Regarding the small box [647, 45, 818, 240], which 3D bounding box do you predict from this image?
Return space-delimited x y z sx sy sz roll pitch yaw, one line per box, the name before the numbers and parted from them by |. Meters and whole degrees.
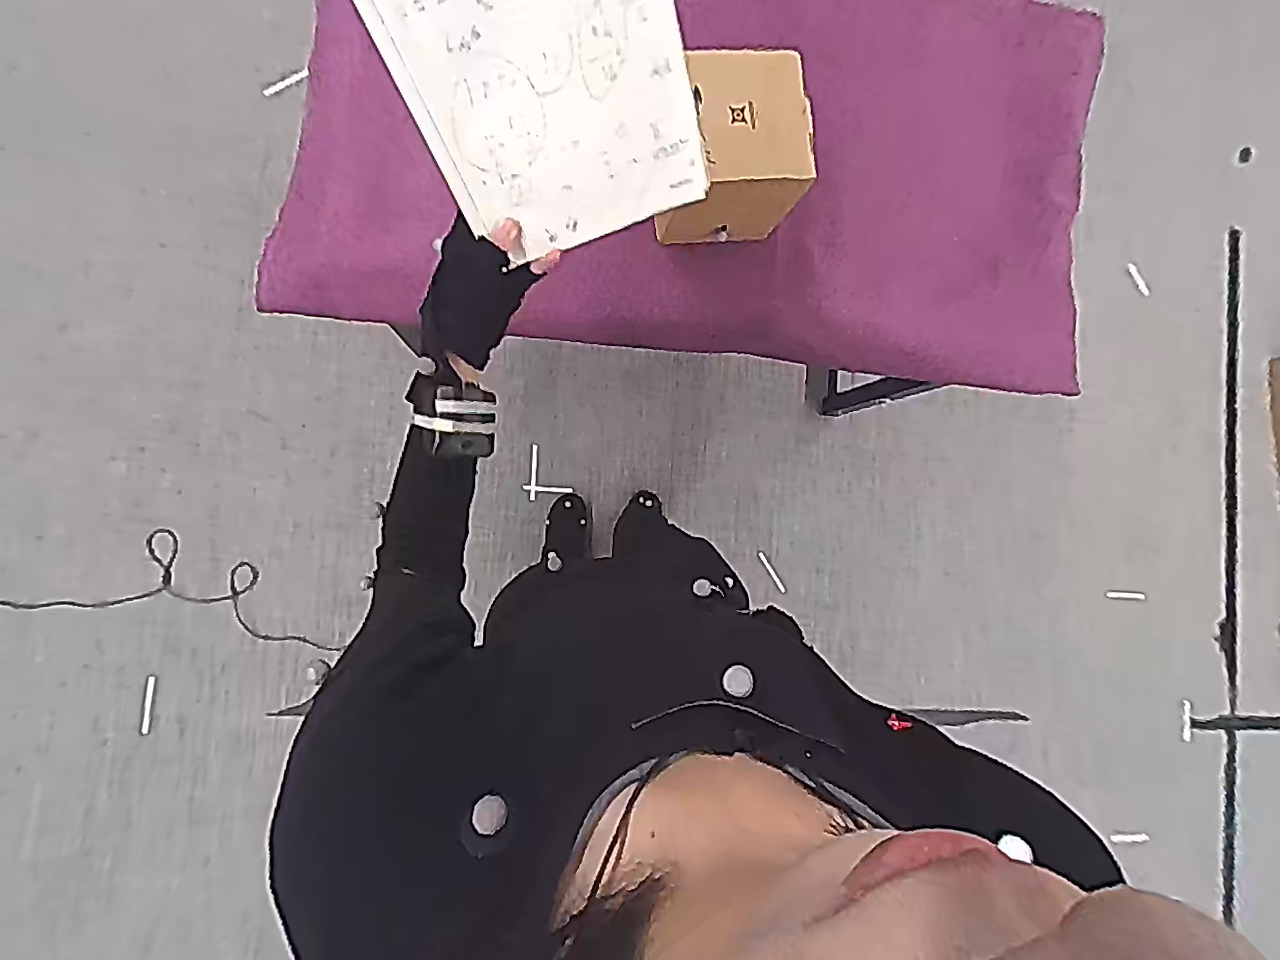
small box | 0.118 -0.451 0.747 0.179 0.176 0.168 -7 88 -11
